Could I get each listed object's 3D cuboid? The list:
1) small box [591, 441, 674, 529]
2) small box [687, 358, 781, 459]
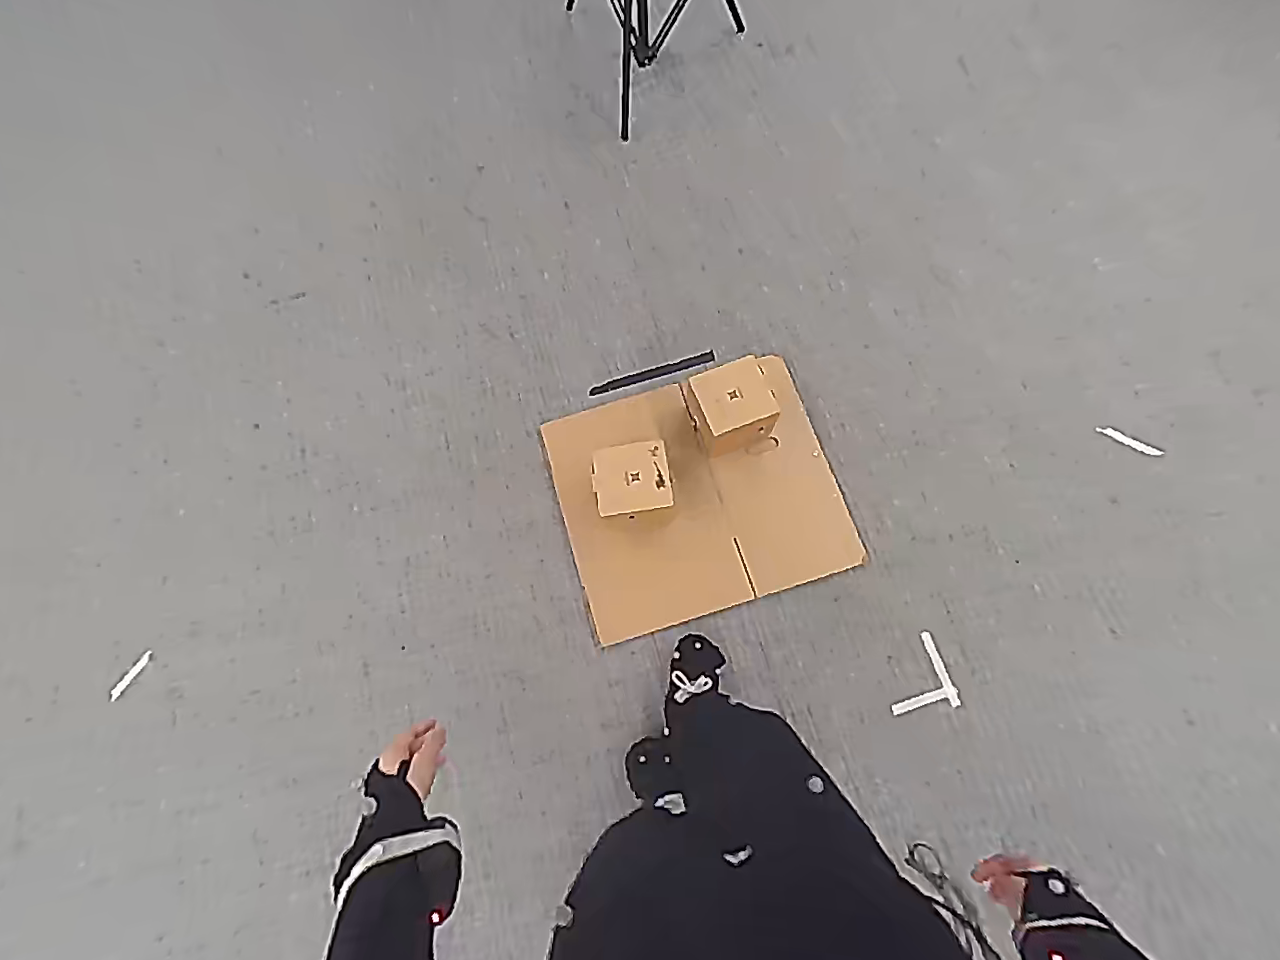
[{"bbox_3d":[-0.015,0.020,1.324,0.179,0.176,0.168,-9,75,2],"label":"small box"},{"bbox_3d":[0.230,-0.175,1.368,0.179,0.176,0.168,-21,74,-3],"label":"small box"}]
